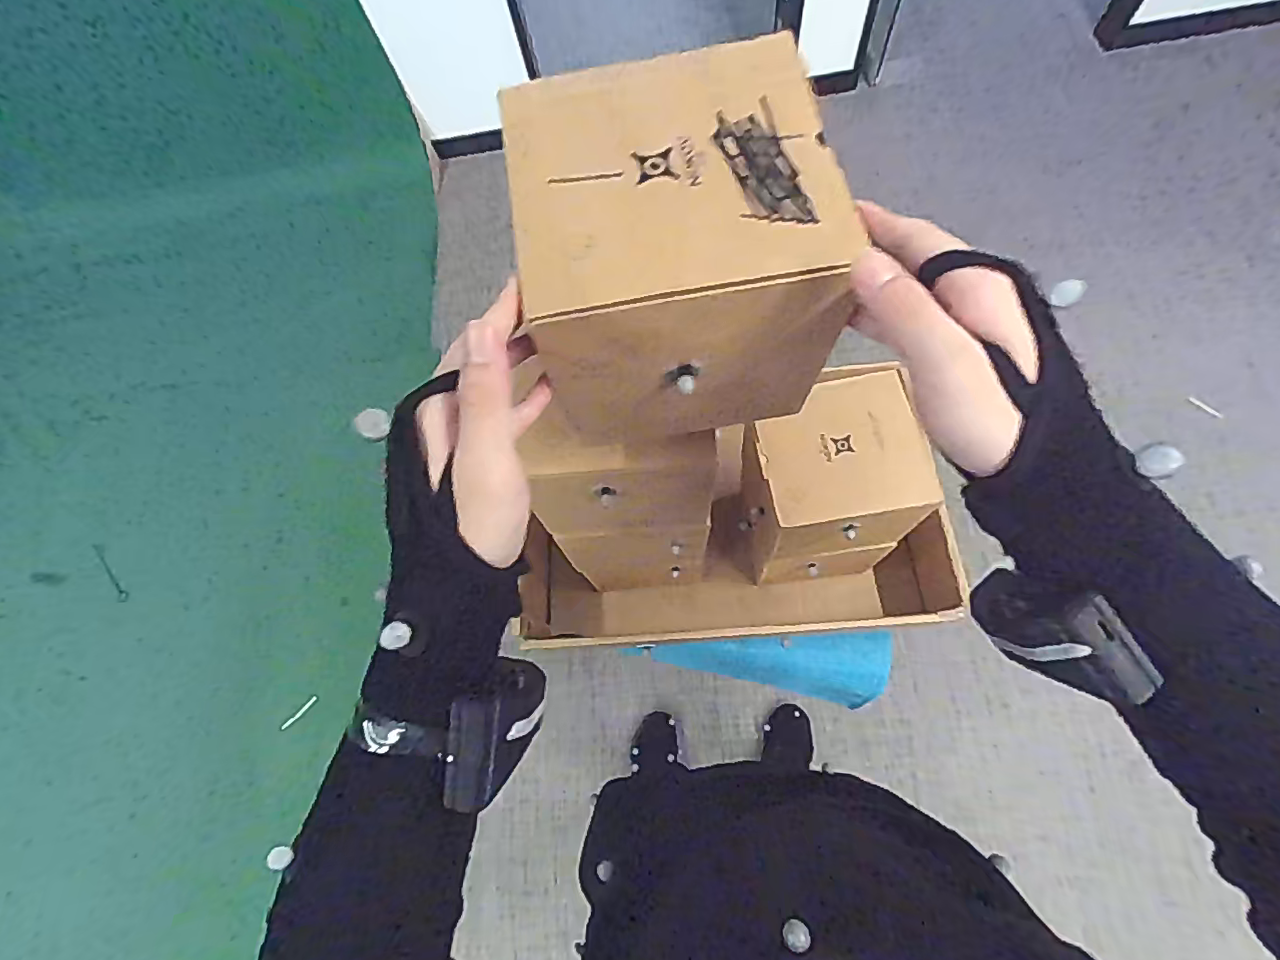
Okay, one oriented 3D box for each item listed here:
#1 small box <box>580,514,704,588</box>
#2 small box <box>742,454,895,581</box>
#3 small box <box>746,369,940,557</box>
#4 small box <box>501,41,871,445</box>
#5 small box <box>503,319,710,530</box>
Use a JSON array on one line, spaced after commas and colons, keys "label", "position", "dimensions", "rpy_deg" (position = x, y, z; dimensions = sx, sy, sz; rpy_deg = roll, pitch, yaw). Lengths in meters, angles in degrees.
[{"label": "small box", "position": [0.005, 0.070, 0.851], "dimensions": [0.179, 0.176, 0.168], "rpy_deg": [-5, 68, 2]}, {"label": "small box", "position": [0.258, 0.050, 0.821], "dimensions": [0.179, 0.176, 0.168], "rpy_deg": [-10, 68, 7]}, {"label": "small box", "position": [0.230, -0.010, 0.671], "dimensions": [0.179, 0.176, 0.168], "rpy_deg": [-10, 68, 5]}, {"label": "small box", "position": [0.021, -0.137, 0.363], "dimensions": [0.179, 0.176, 0.168], "rpy_deg": [-10, 72, 1]}, {"label": "small box", "position": [-0.025, -0.051, 0.547], "dimensions": [0.179, 0.176, 0.168], "rpy_deg": [-3, 69, 3]}]
